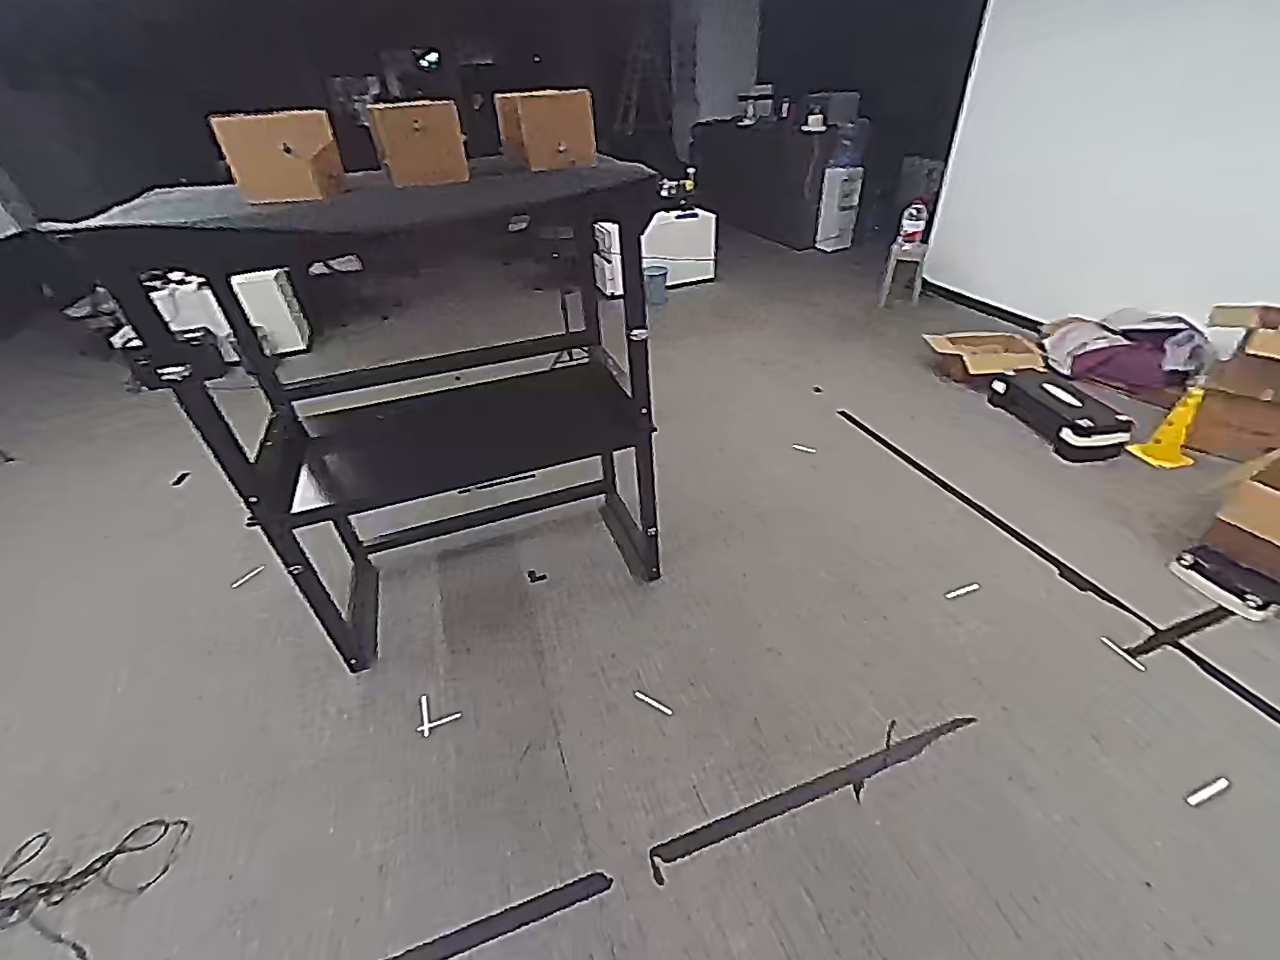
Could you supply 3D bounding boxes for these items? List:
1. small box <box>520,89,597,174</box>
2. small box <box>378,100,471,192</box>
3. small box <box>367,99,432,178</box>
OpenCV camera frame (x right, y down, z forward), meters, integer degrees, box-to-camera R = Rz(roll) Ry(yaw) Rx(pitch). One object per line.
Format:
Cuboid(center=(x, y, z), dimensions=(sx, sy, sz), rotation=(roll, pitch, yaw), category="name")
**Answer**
Cuboid(center=(-0.210, -0.891, 1.383), dimensions=(0.168, 0.176, 0.179), rotation=(-11, 37, -8), category="small box")
Cuboid(center=(-0.518, -0.815, 1.316), dimensions=(0.179, 0.176, 0.168), rotation=(-15, 38, -14), category="small box")
Cuboid(center=(-0.637, -0.945, 1.497), dimensions=(0.168, 0.176, 0.179), rotation=(-15, 39, -13), category="small box")
